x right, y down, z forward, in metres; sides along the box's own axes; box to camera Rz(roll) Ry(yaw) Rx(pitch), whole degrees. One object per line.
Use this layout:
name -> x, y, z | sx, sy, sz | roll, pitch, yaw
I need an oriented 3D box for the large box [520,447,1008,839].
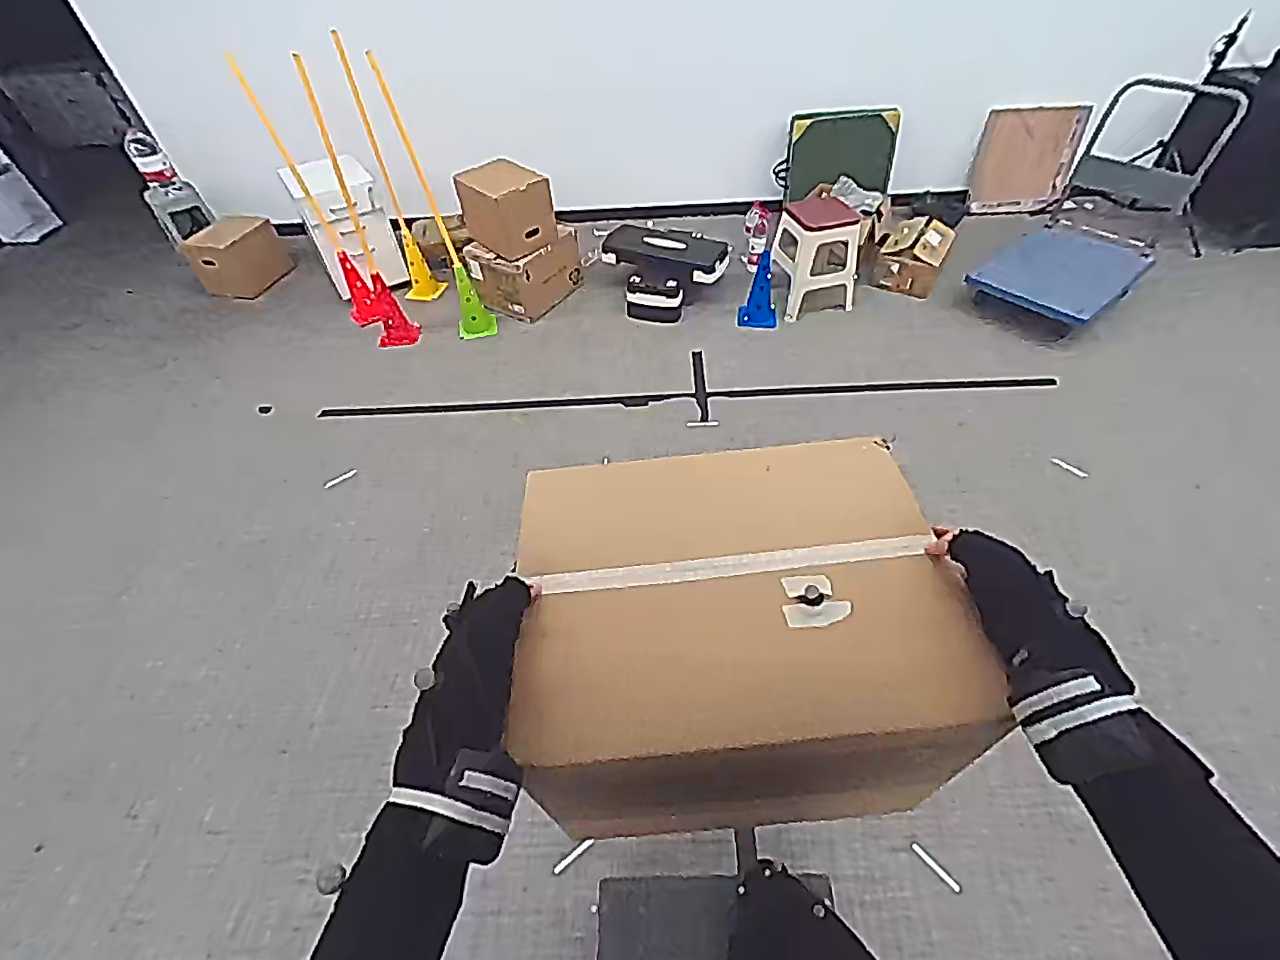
large box -> 0.098, 0.194, 0.638 | 0.408, 0.320, 0.320 | -6, 47, 1
